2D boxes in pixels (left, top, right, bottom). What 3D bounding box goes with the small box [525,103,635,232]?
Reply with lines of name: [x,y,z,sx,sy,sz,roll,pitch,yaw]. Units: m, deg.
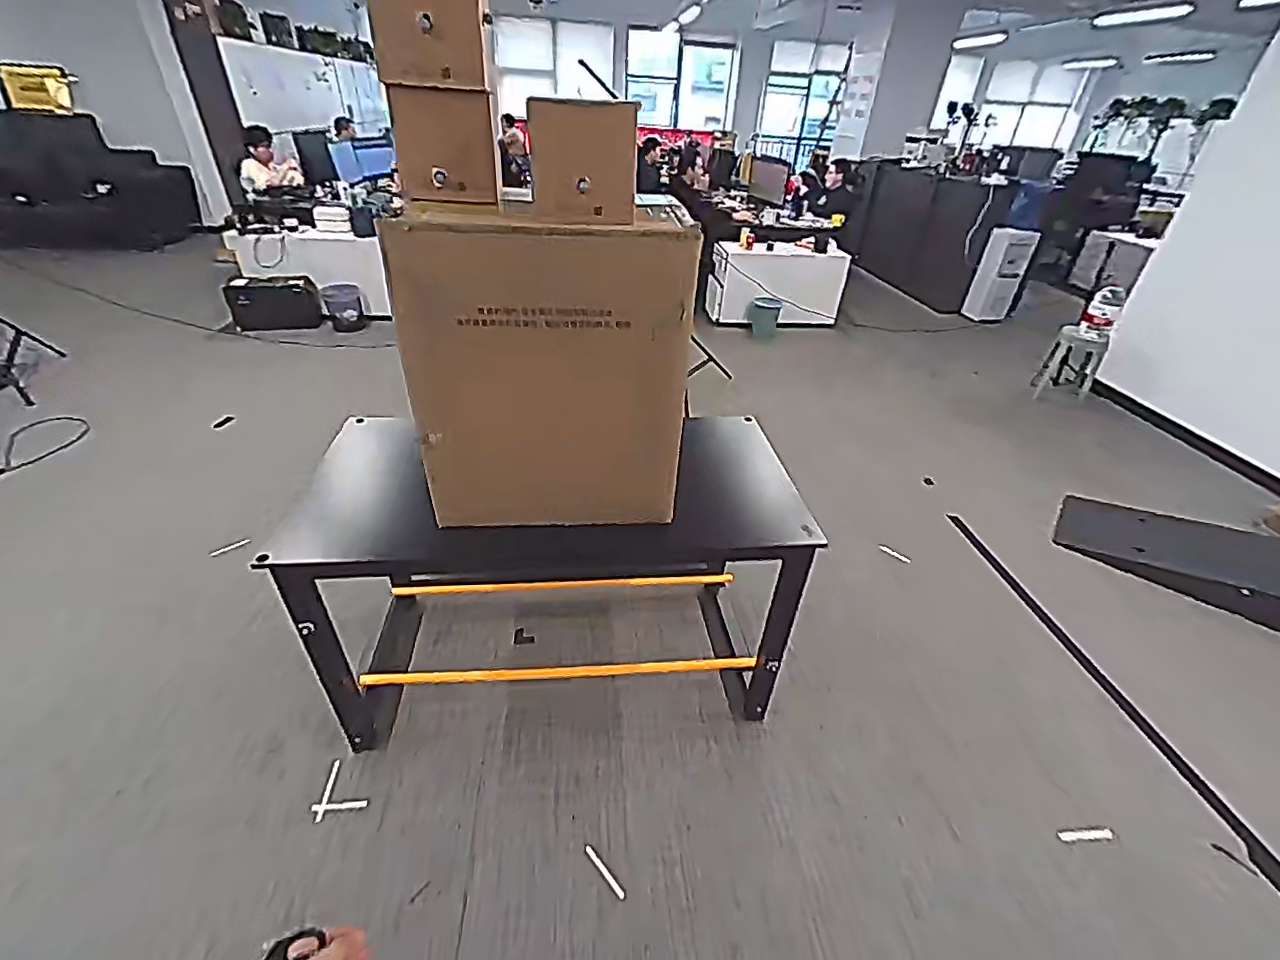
small box: [-0.101,-0.526,0.908,0.168,0.176,0.179,-3,36,-7]

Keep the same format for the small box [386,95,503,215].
small box: [-0.345,-0.595,0.990,0.168,0.176,0.179,-4,35,-10]

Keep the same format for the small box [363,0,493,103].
small box: [-0.338,-0.722,0.885,0.168,0.176,0.179,-2,35,-9]
